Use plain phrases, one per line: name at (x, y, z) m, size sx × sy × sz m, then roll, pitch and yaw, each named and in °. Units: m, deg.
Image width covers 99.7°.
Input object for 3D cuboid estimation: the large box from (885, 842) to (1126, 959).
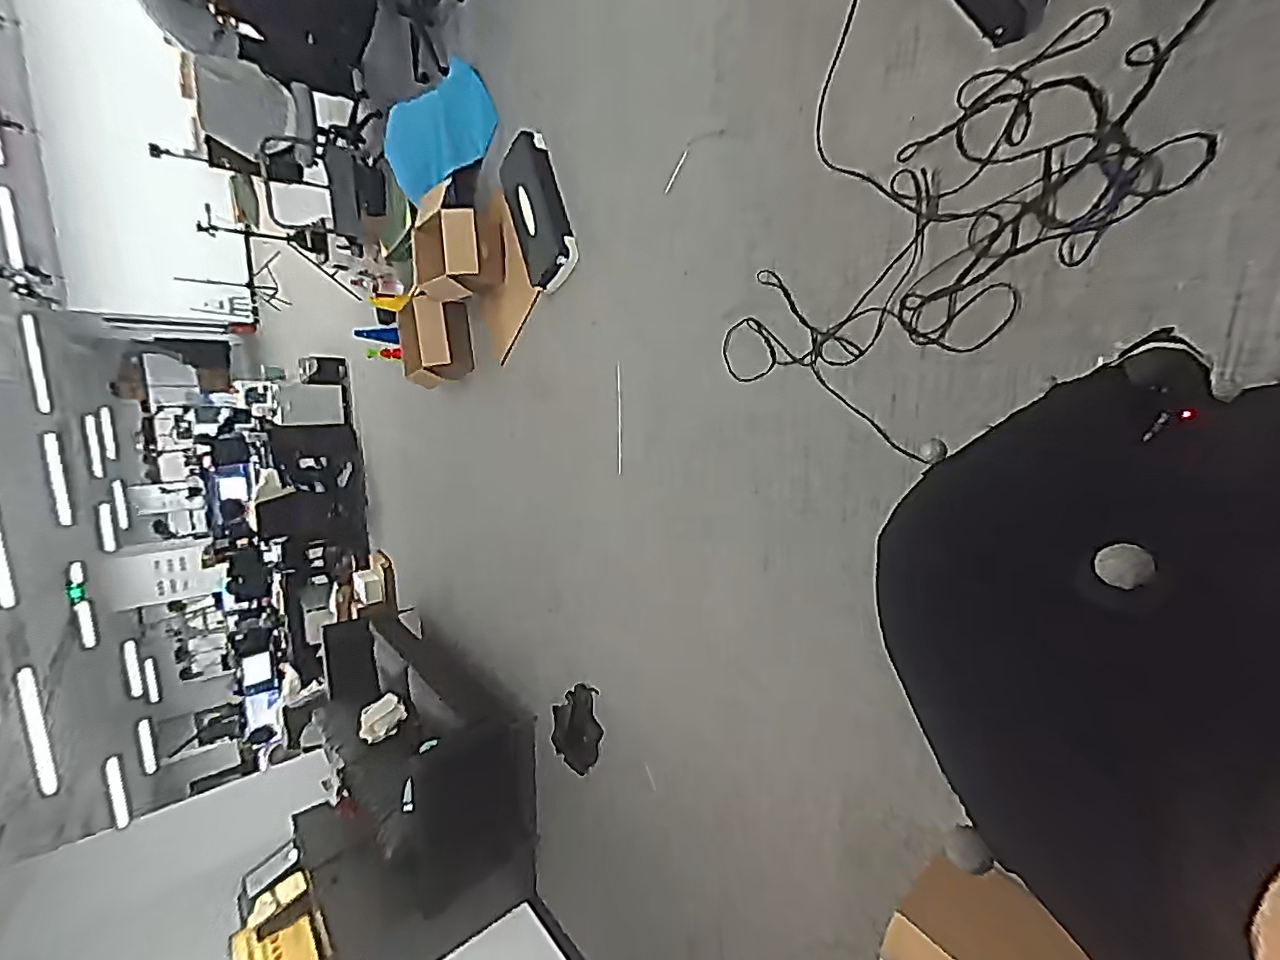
large box at (0.809, 1.135, 1.194) m, size 0.408 × 0.320 × 0.320 m, roll 22°, pitch 112°, yaw 47°
